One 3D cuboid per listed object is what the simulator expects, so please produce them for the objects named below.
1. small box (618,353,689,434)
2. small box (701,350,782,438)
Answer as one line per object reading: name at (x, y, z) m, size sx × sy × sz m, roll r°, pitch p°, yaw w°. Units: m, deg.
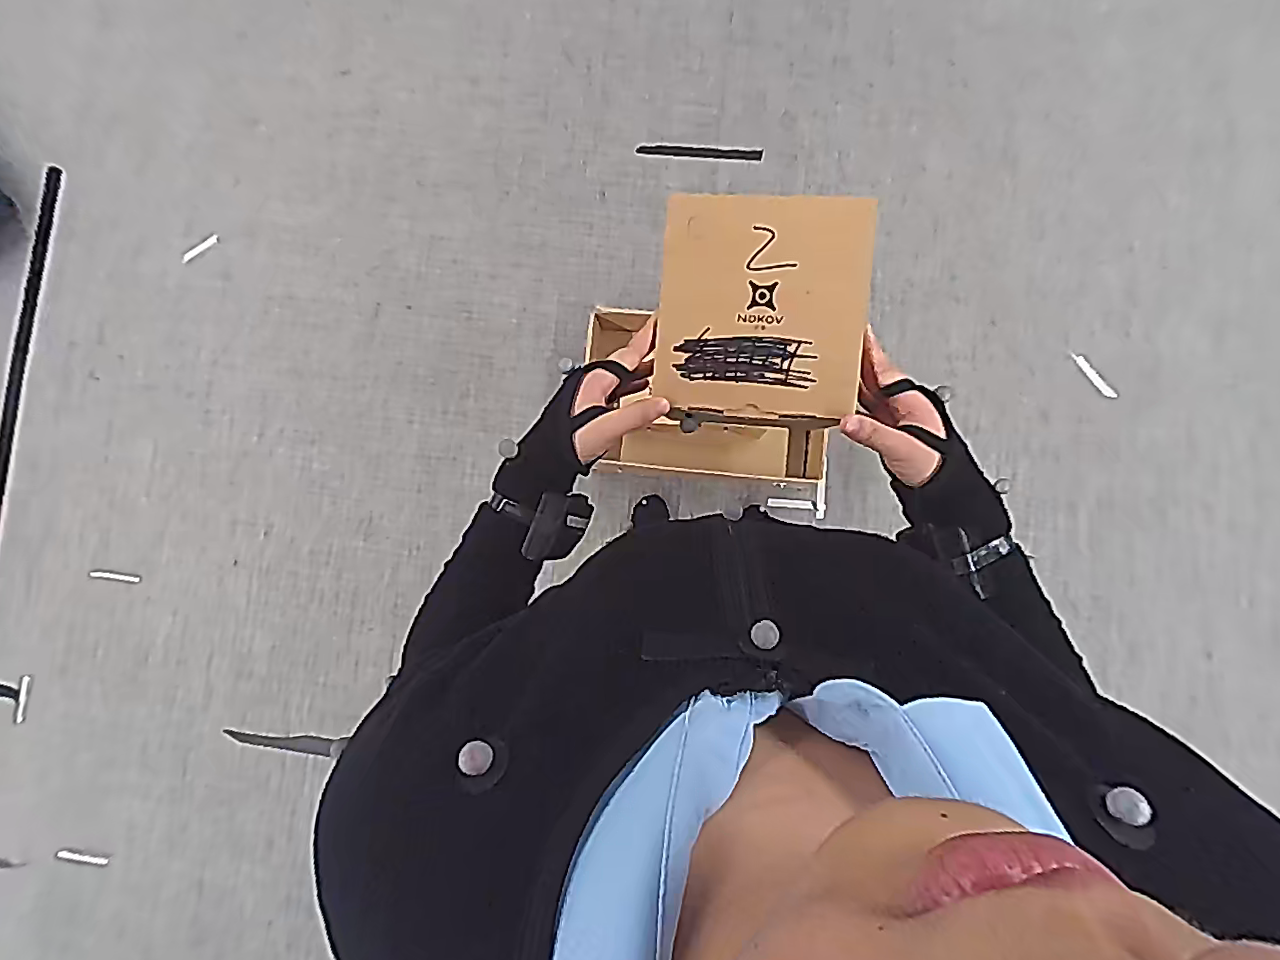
small box at (0.037, -0.217, 1.404) m, size 0.168 × 0.176 × 0.179 m, roll 4°, pitch 87°, yaw 2°
small box at (0.255, -0.215, 1.395) m, size 0.168 × 0.176 × 0.179 m, roll 11°, pitch 88°, yaw 4°
